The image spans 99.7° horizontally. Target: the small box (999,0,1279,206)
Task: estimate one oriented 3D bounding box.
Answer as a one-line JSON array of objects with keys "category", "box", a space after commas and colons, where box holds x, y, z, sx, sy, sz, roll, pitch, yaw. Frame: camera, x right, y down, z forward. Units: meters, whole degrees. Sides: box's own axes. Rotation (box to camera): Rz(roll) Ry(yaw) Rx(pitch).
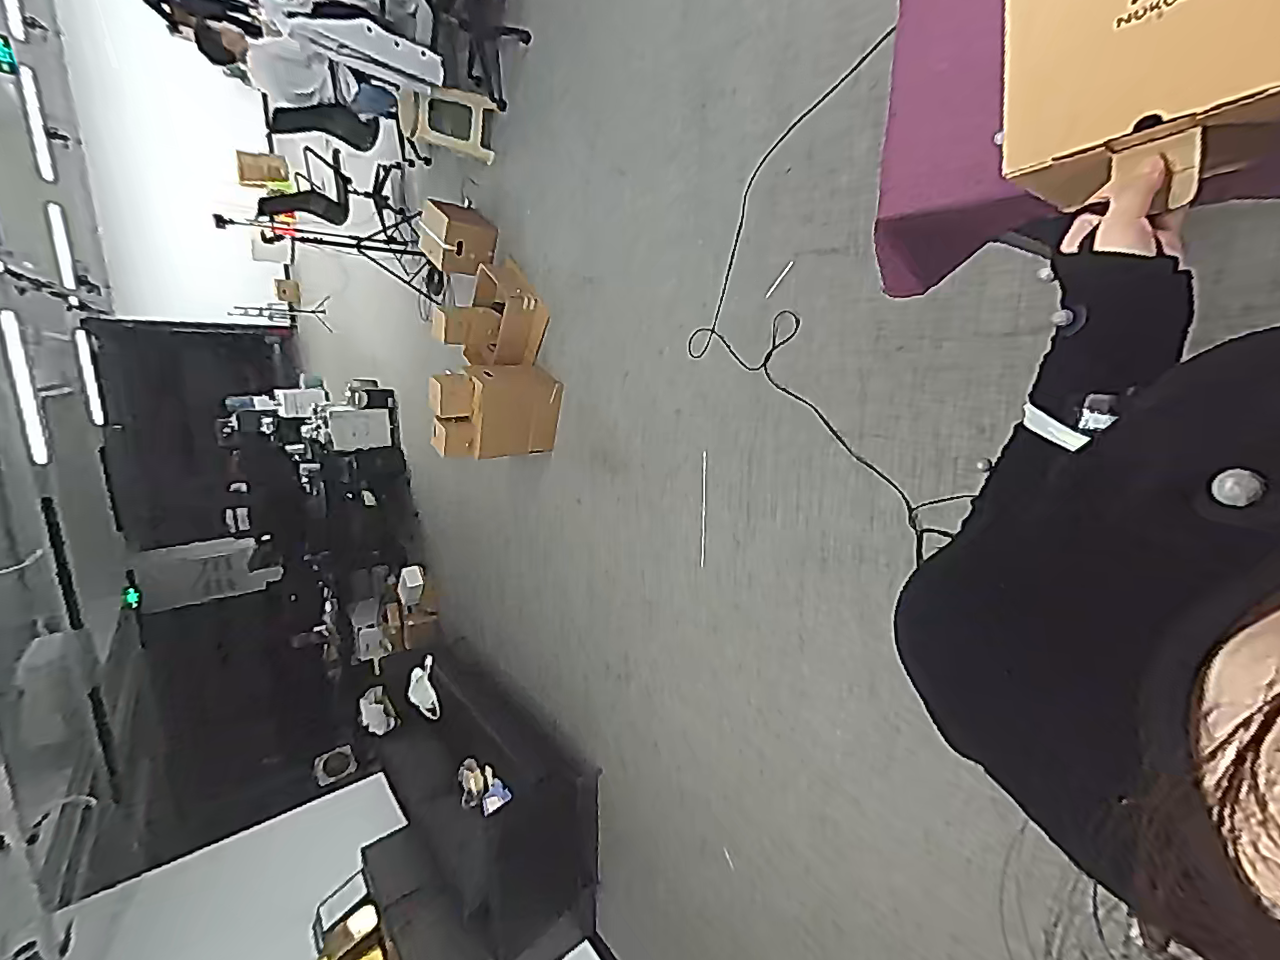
[{"category": "small box", "box": [0.394, -0.333, 0.408, 0.168, 0.176, 0.179, 5, 104, 50]}]
